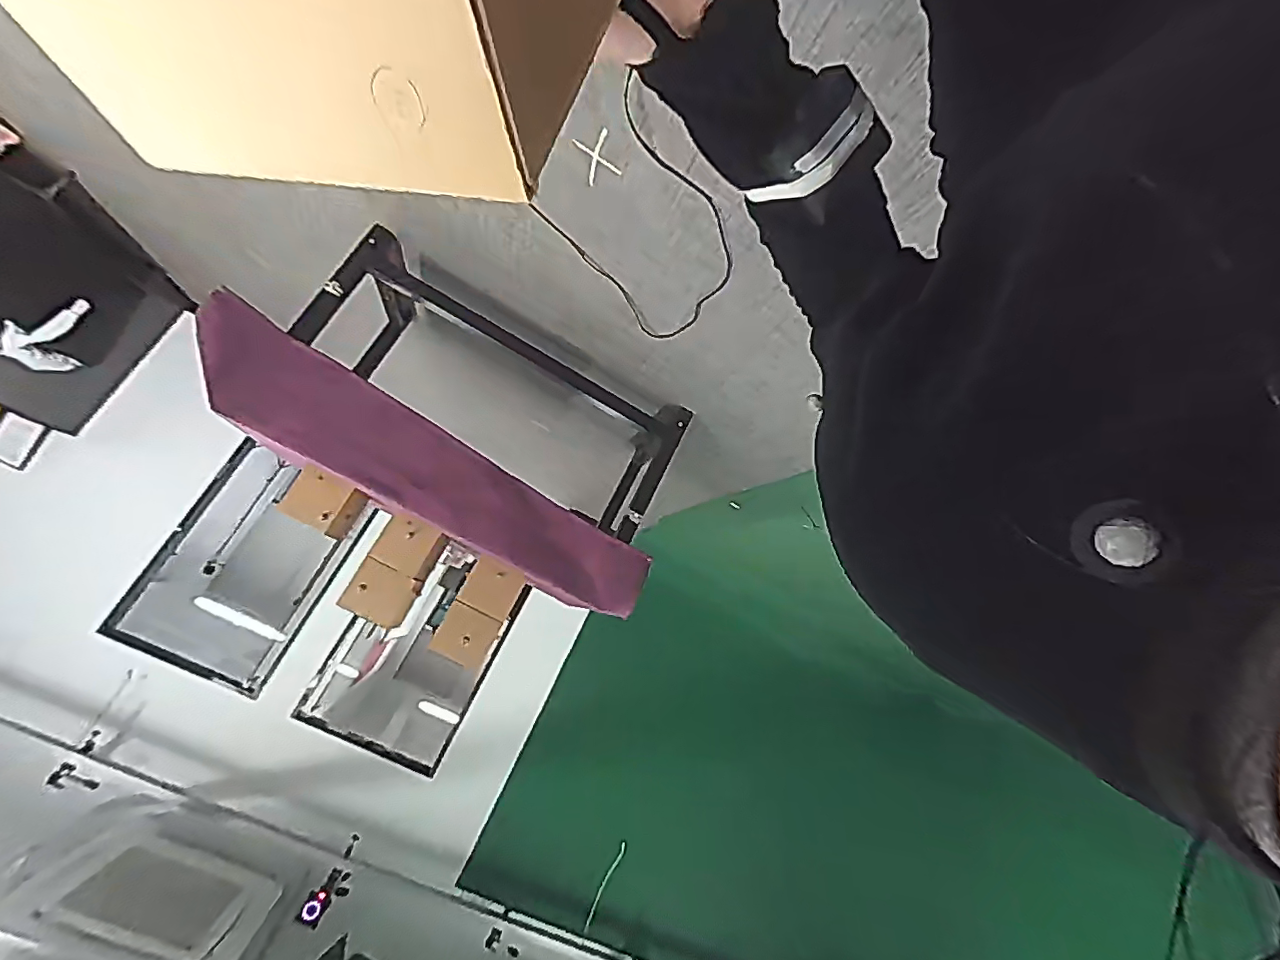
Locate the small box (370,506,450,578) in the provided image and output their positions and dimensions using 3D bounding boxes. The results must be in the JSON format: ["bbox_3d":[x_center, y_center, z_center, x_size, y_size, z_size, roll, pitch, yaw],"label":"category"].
[{"bbox_3d":[-0.754,0.207,1.795,0.168,0.176,0.179,27,162,-2],"label":"small box"}]

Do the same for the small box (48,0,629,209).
[{"bbox_3d":[-0.098,-0.227,0.174,0.168,0.176,0.179,11,156,9],"label":"small box"}]

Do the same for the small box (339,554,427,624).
[{"bbox_3d":[-0.821,0.347,1.744,0.179,0.176,0.168,27,164,-4],"label":"small box"}]

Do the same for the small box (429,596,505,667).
[{"bbox_3d":[-0.567,0.492,1.785,0.179,0.176,0.168,28,163,-8],"label":"small box"}]

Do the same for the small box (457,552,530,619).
[{"bbox_3d":[-0.495,0.352,1.833,0.179,0.176,0.168,29,163,-7],"label":"small box"}]
